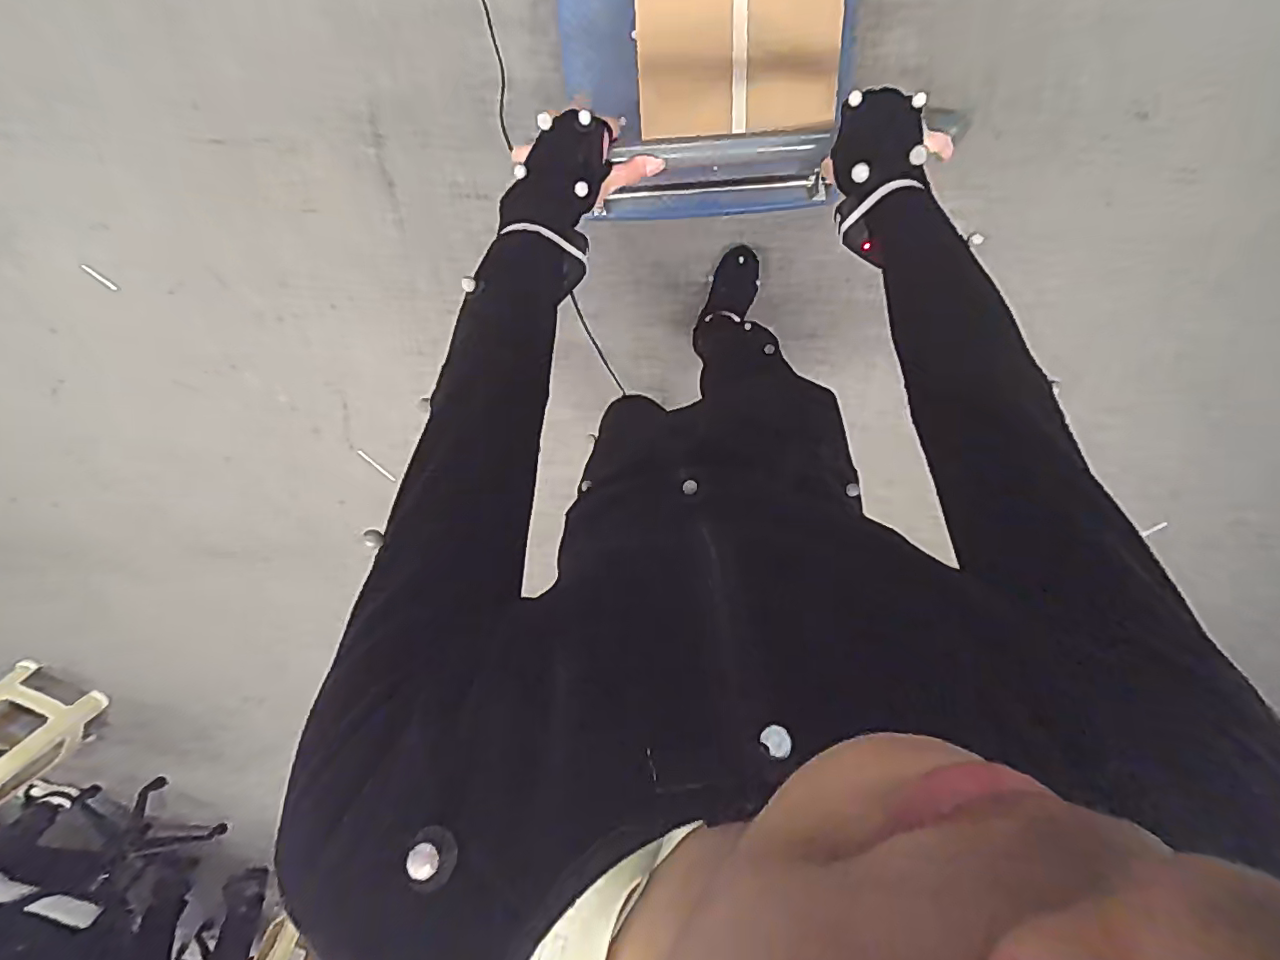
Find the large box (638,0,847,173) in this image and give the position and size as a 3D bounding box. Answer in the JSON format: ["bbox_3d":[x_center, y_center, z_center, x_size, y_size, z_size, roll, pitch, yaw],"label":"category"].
[{"bbox_3d":[0.162,-0.790,0.936,0.320,0.320,0.408,-2,113,5],"label":"large box"}]
